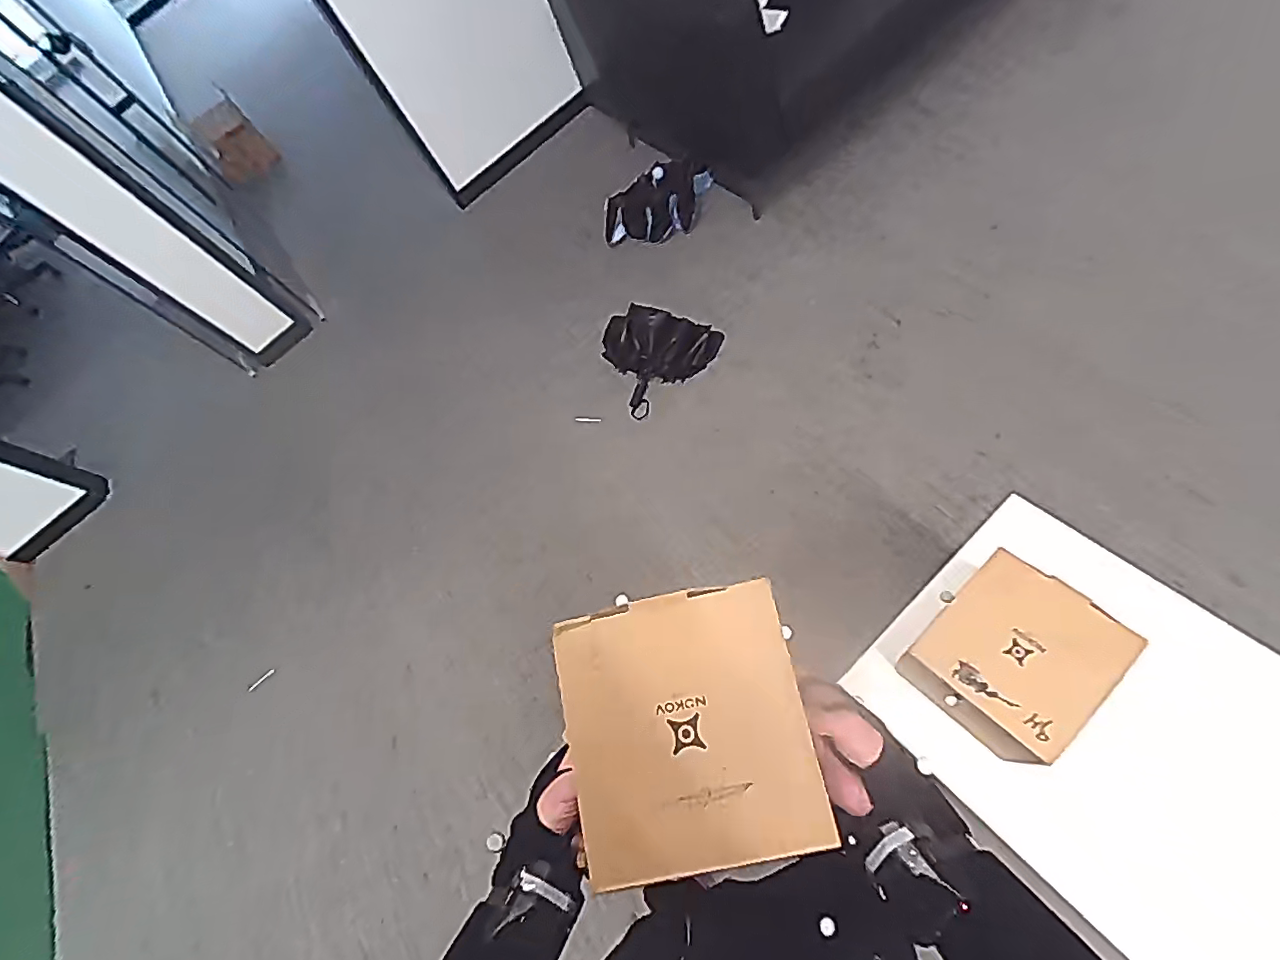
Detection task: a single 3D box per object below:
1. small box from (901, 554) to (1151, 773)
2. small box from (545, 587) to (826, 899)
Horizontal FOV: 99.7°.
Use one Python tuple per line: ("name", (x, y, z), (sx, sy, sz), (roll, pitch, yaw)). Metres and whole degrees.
("small box", (0.448, 0.227, 0.666), (0.179, 0.176, 0.168), (-45, 59, -6))
("small box", (0.034, 0.196, 0.447), (0.168, 0.176, 0.179), (-13, 74, 5))
